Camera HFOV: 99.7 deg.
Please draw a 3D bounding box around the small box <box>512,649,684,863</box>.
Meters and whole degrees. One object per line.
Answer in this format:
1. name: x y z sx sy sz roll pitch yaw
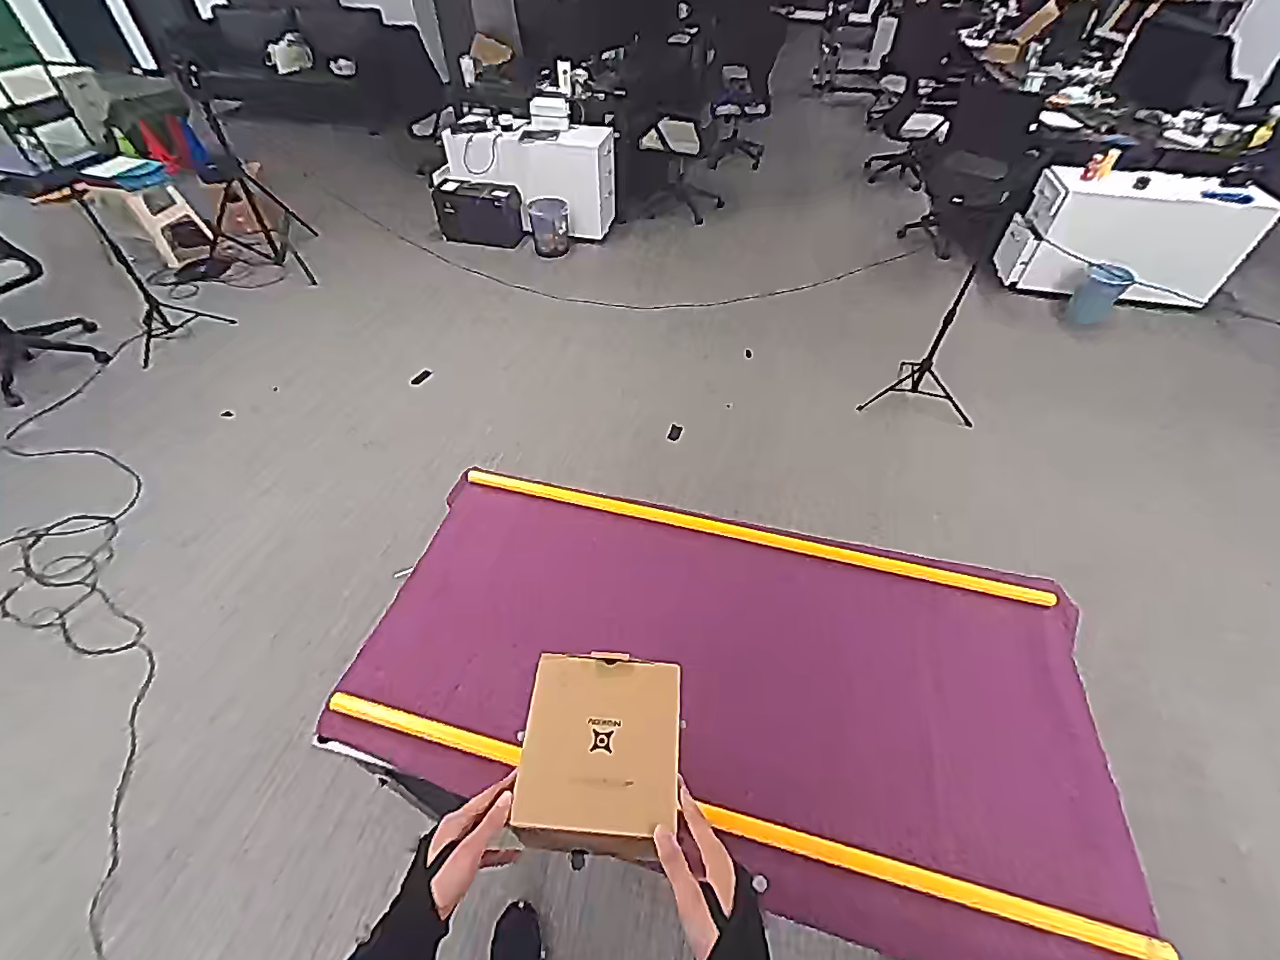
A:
1. small box: -0.041 0.323 0.632 0.168 0.176 0.179 5 48 1
